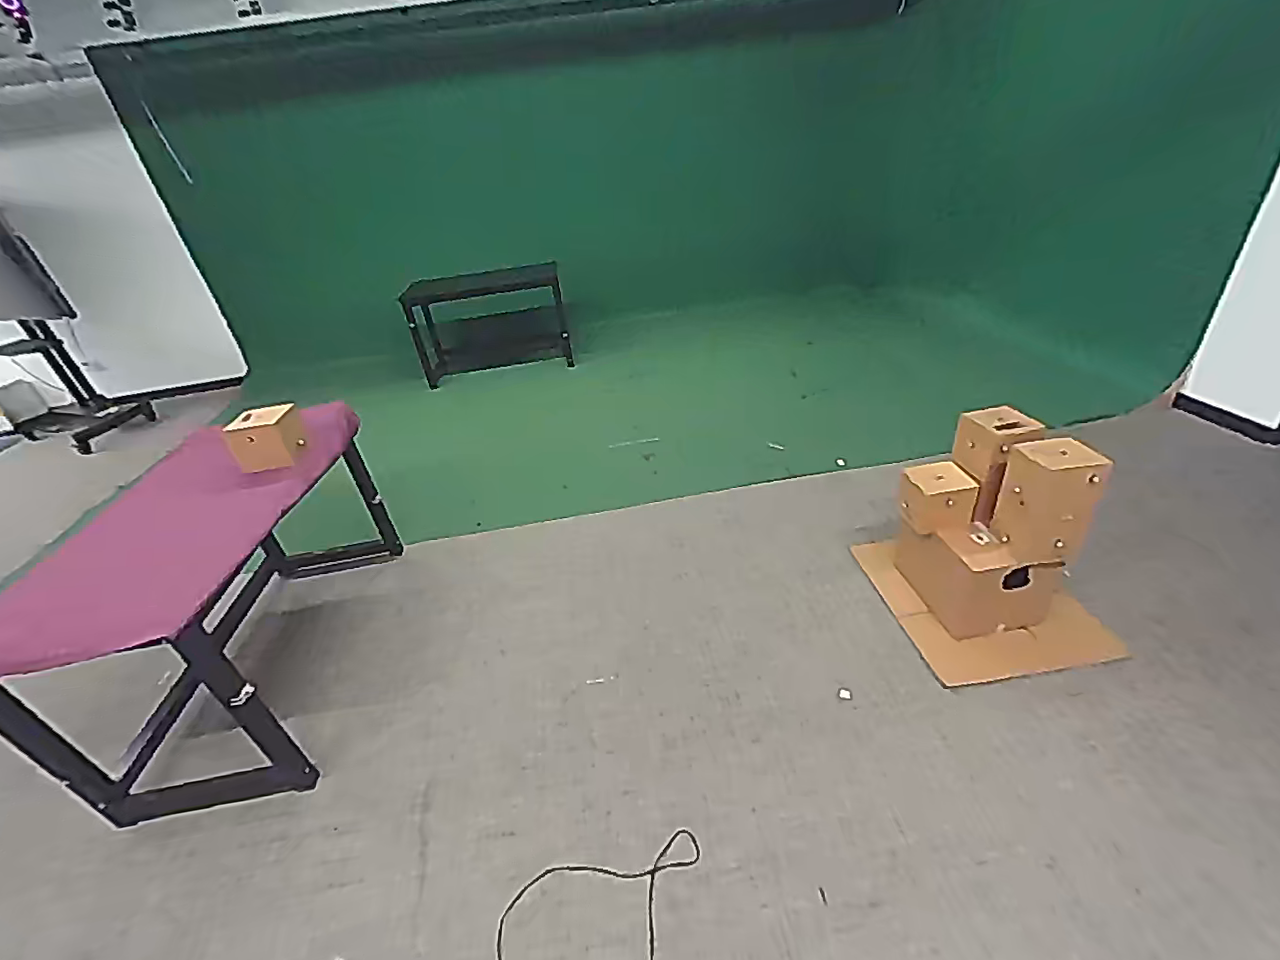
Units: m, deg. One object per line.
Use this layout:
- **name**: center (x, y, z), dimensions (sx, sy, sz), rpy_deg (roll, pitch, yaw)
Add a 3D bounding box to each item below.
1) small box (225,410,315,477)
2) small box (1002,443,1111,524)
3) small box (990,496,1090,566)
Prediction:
- **small box**: center (-1.289, -0.126, 1.900), dimensions (0.179, 0.176, 0.168), rpy_deg (-9, 32, -3)
- **small box**: center (1.204, 0.010, 1.578), dimensions (0.179, 0.176, 0.168), rpy_deg (-7, 29, 1)
- **small box**: center (1.221, 0.152, 1.664), dimensions (0.168, 0.176, 0.179), rpy_deg (-8, 29, 0)
